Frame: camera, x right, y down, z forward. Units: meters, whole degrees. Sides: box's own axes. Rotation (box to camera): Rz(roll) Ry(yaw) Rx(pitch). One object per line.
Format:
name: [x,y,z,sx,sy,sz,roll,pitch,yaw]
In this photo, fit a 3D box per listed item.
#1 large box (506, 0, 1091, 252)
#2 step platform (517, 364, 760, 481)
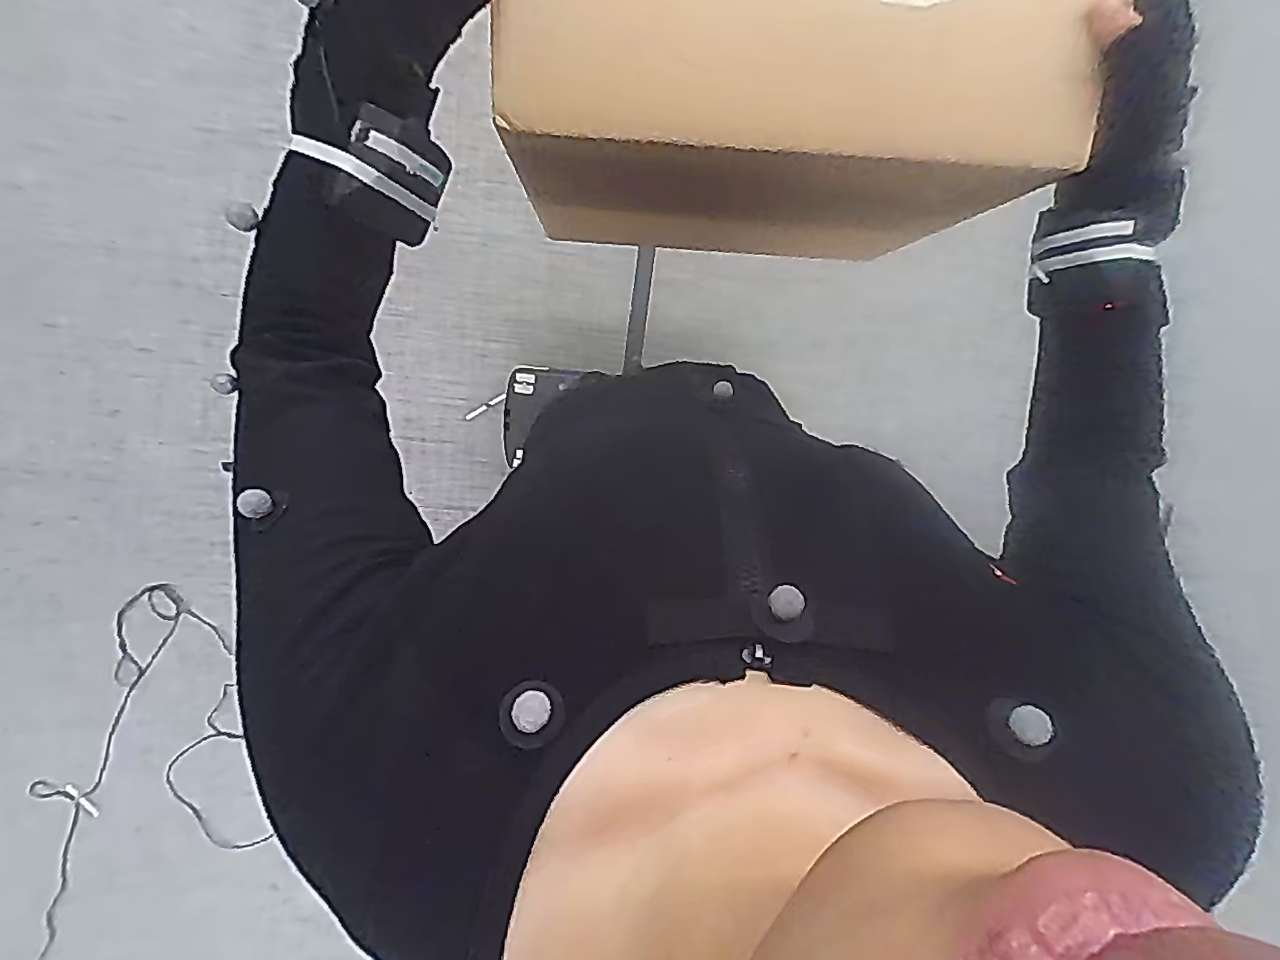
large box: [0.101,-0.410,0.493,0.408,0.320,0.320,2,102,-4]
step platform: [-0.006,-0.164,1.554,0.684,0.204,0.286,4,100,-5]
